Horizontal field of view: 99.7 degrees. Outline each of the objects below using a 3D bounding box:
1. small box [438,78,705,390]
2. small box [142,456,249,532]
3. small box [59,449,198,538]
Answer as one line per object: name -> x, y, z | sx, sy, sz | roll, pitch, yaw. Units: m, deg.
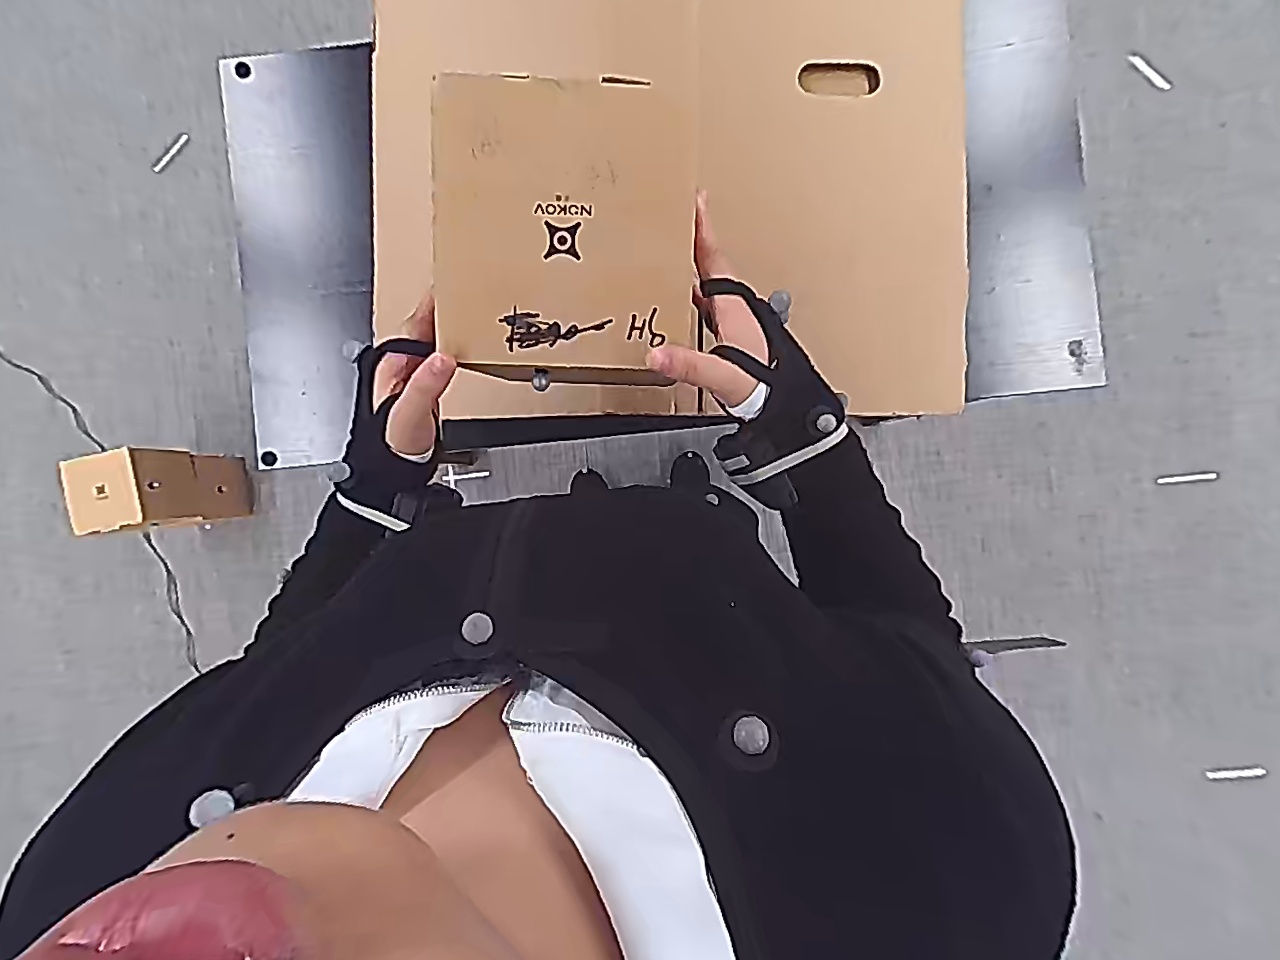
small box -> -0.045, -0.166, 0.421 | 0.168, 0.176, 0.179 | 2, 97, 0
small box -> -1.204, 0.037, 1.458 | 0.168, 0.176, 0.179 | -10, 90, 2
small box -> -1.212, 0.031, 1.296 | 0.168, 0.176, 0.179 | -13, 88, 1
